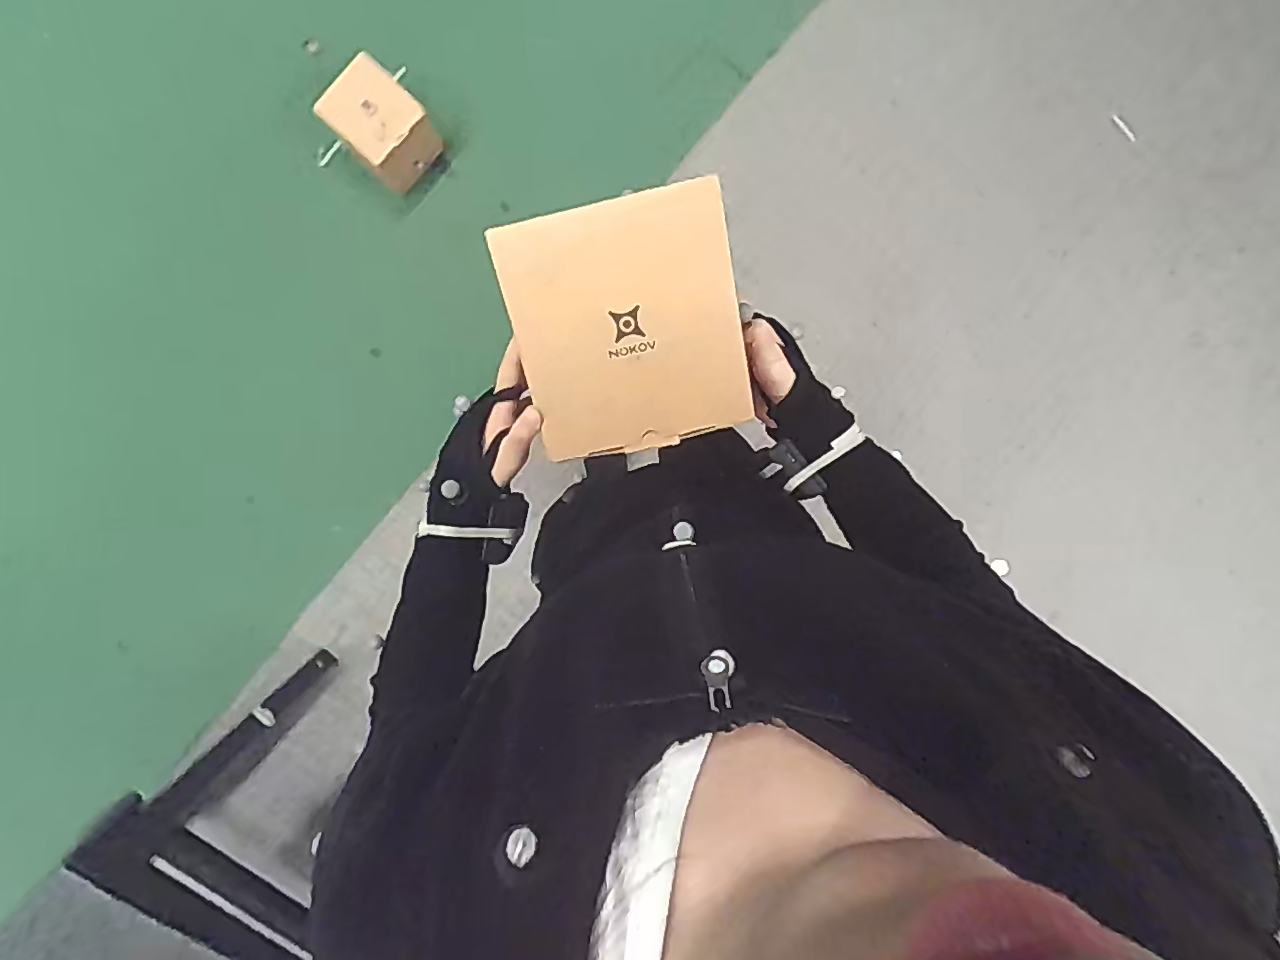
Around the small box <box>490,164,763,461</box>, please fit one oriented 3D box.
[{"bbox_3d":[-0.008,-0.136,0.459,0.168,0.176,0.179,-13,109,2],"label":"small box"}]

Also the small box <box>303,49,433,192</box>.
[{"bbox_3d":[-0.608,-0.805,1.233,0.179,0.176,0.168,41,89,-10],"label":"small box"}]
